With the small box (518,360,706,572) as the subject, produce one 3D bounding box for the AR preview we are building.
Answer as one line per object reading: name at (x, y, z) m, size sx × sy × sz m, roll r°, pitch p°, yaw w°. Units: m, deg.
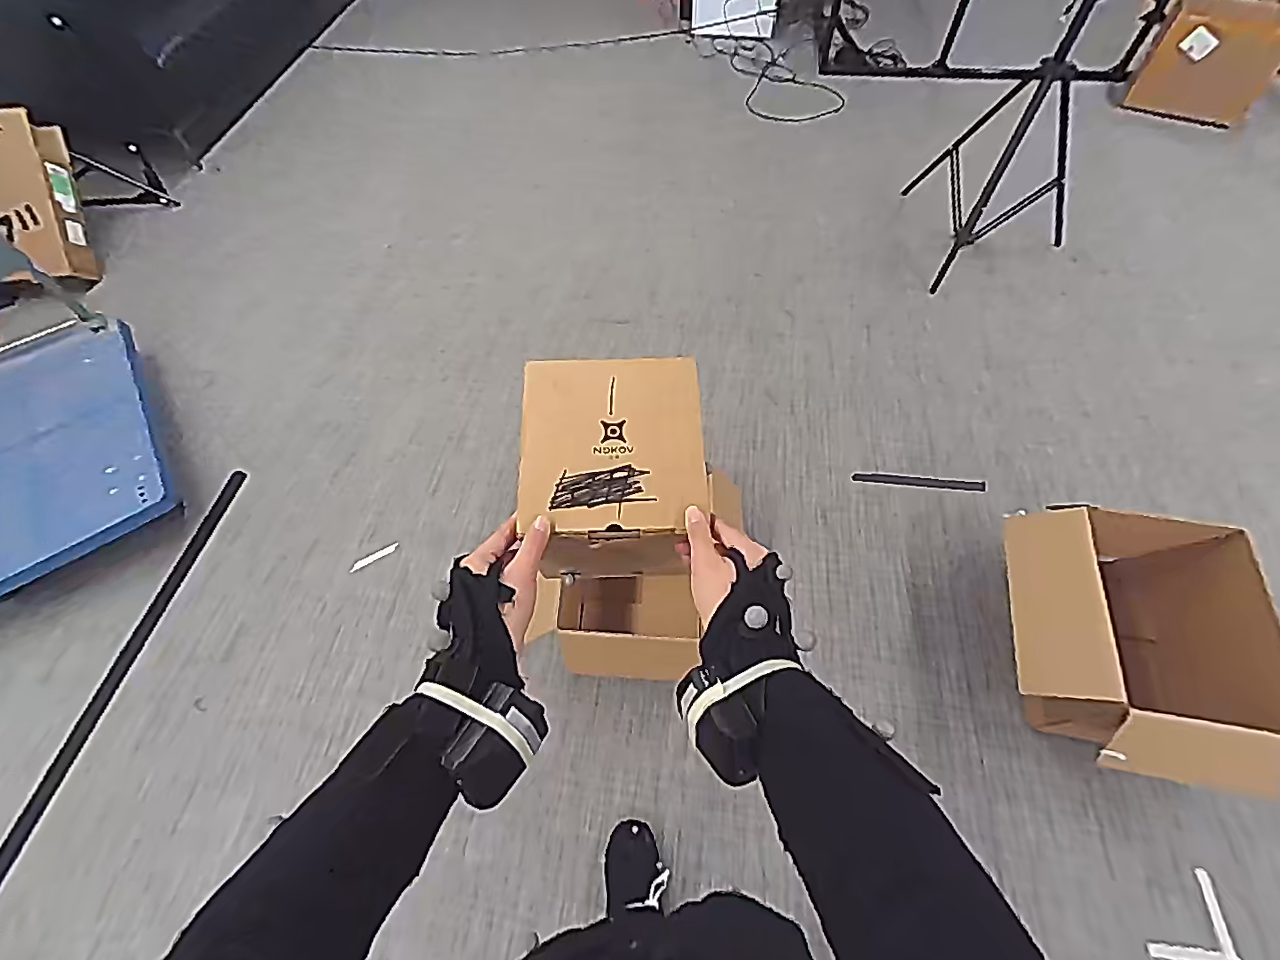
small box at (-0.026, -0.004, 0.566) m, size 0.168 × 0.176 × 0.179 m, roll -2°, pitch 66°, yaw -2°
